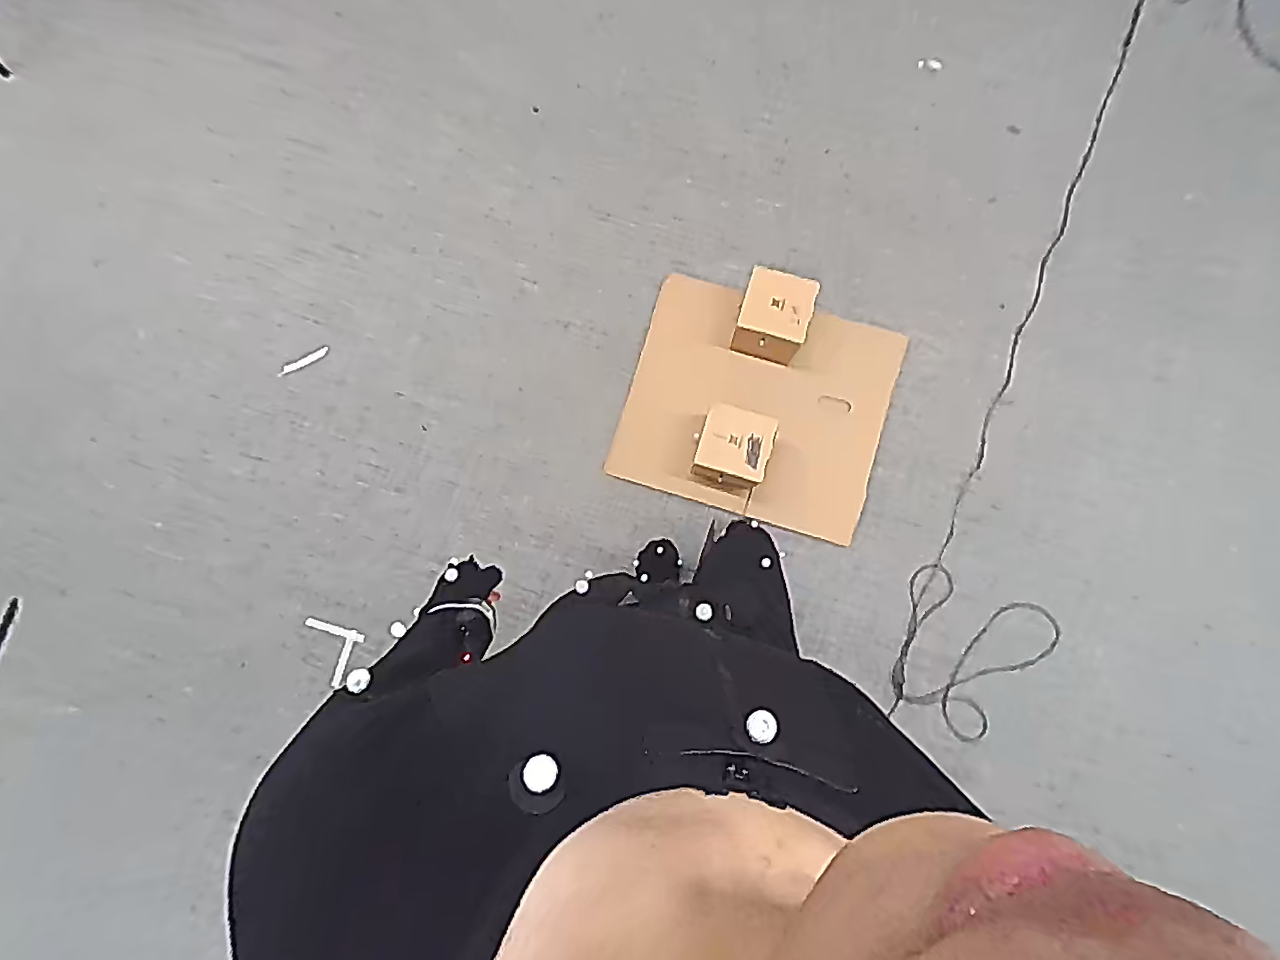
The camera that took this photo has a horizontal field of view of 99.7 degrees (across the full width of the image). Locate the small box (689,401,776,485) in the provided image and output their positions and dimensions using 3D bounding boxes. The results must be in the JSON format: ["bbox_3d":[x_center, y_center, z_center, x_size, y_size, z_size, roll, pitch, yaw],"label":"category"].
[{"bbox_3d":[0.236,-0.089,1.415,0.179,0.176,0.168,17,85,4],"label":"small box"}]

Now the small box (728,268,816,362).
[{"bbox_3d":[0.345,-0.433,1.447,0.179,0.176,0.168,17,85,4],"label":"small box"}]
